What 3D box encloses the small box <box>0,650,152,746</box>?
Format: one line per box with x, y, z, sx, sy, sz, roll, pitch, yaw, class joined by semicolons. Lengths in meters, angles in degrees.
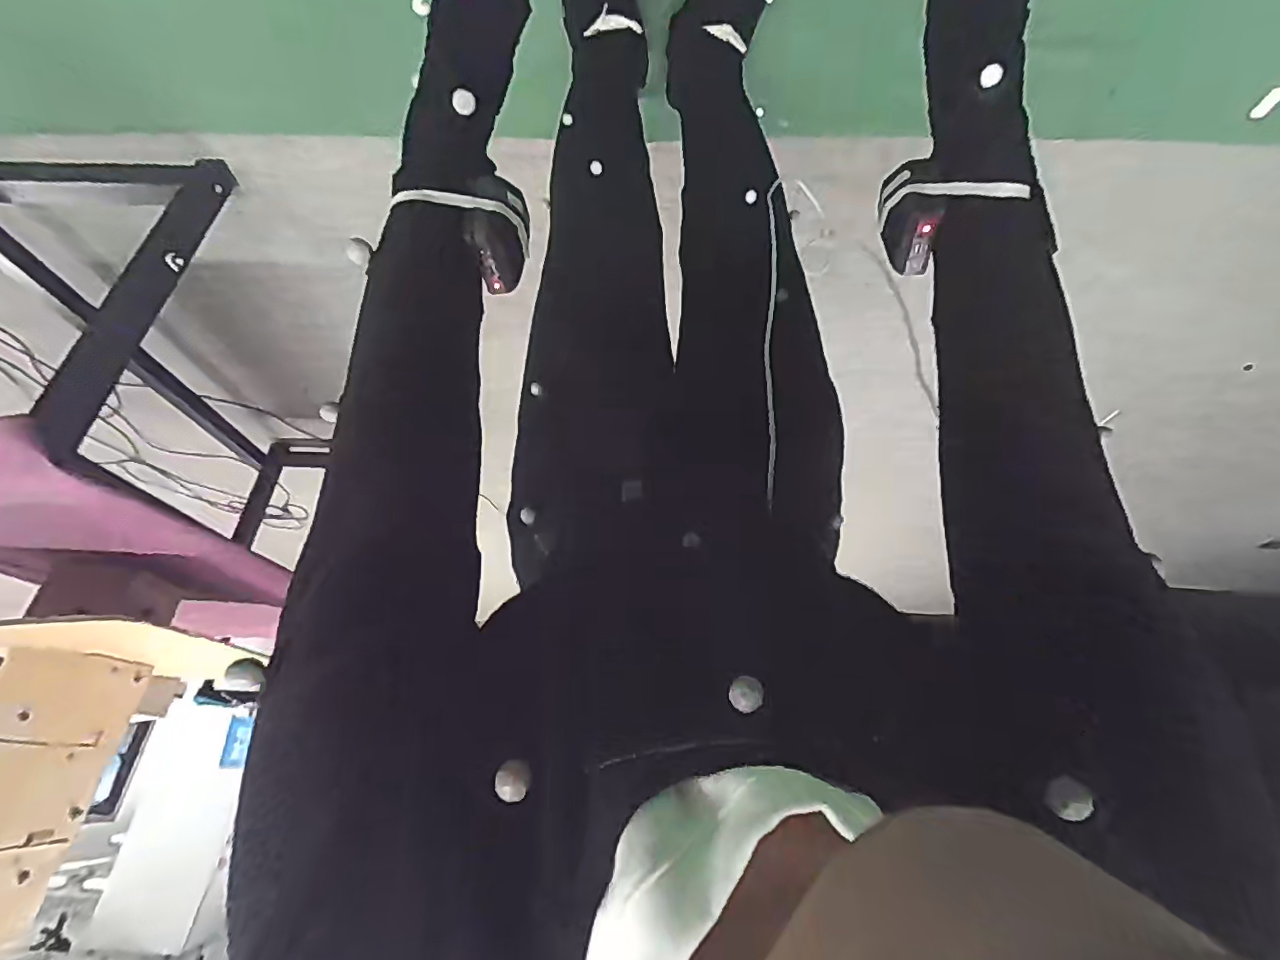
-1.187;0.458;1.135;0.179;0.176;0.168;5;152;1;small box

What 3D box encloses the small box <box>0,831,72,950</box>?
-1.216;0.744;0.977;0.179;0.176;0.168;4;152;2;small box
